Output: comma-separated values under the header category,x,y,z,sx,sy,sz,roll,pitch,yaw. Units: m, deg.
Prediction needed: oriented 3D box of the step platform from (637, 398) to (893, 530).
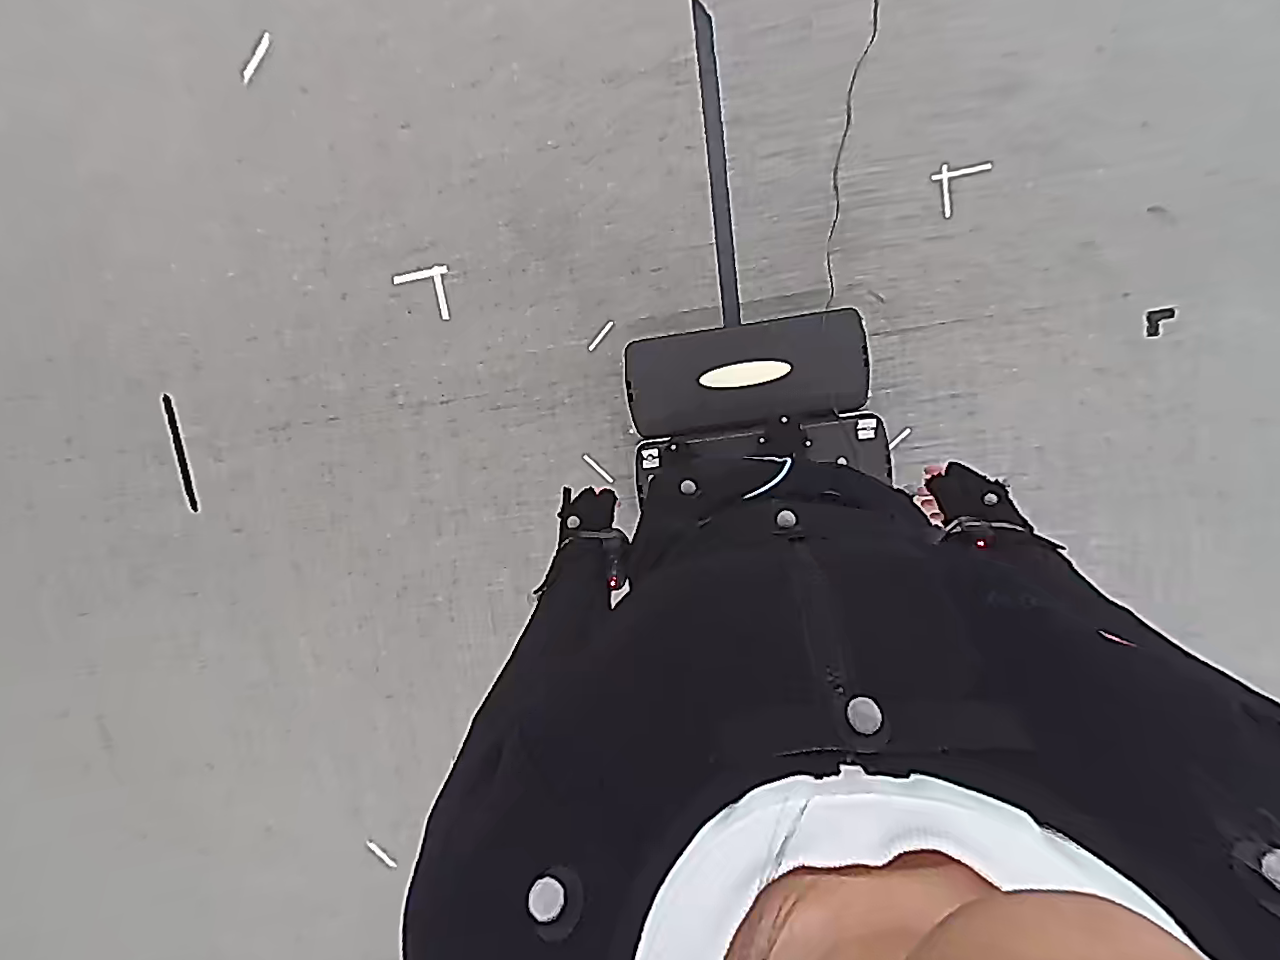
category,x,y,z,sx,sy,sz,roll,pitch,yaw
step platform,0.336,-0.043,1.516,0.684,0.204,0.286,-8,96,8
